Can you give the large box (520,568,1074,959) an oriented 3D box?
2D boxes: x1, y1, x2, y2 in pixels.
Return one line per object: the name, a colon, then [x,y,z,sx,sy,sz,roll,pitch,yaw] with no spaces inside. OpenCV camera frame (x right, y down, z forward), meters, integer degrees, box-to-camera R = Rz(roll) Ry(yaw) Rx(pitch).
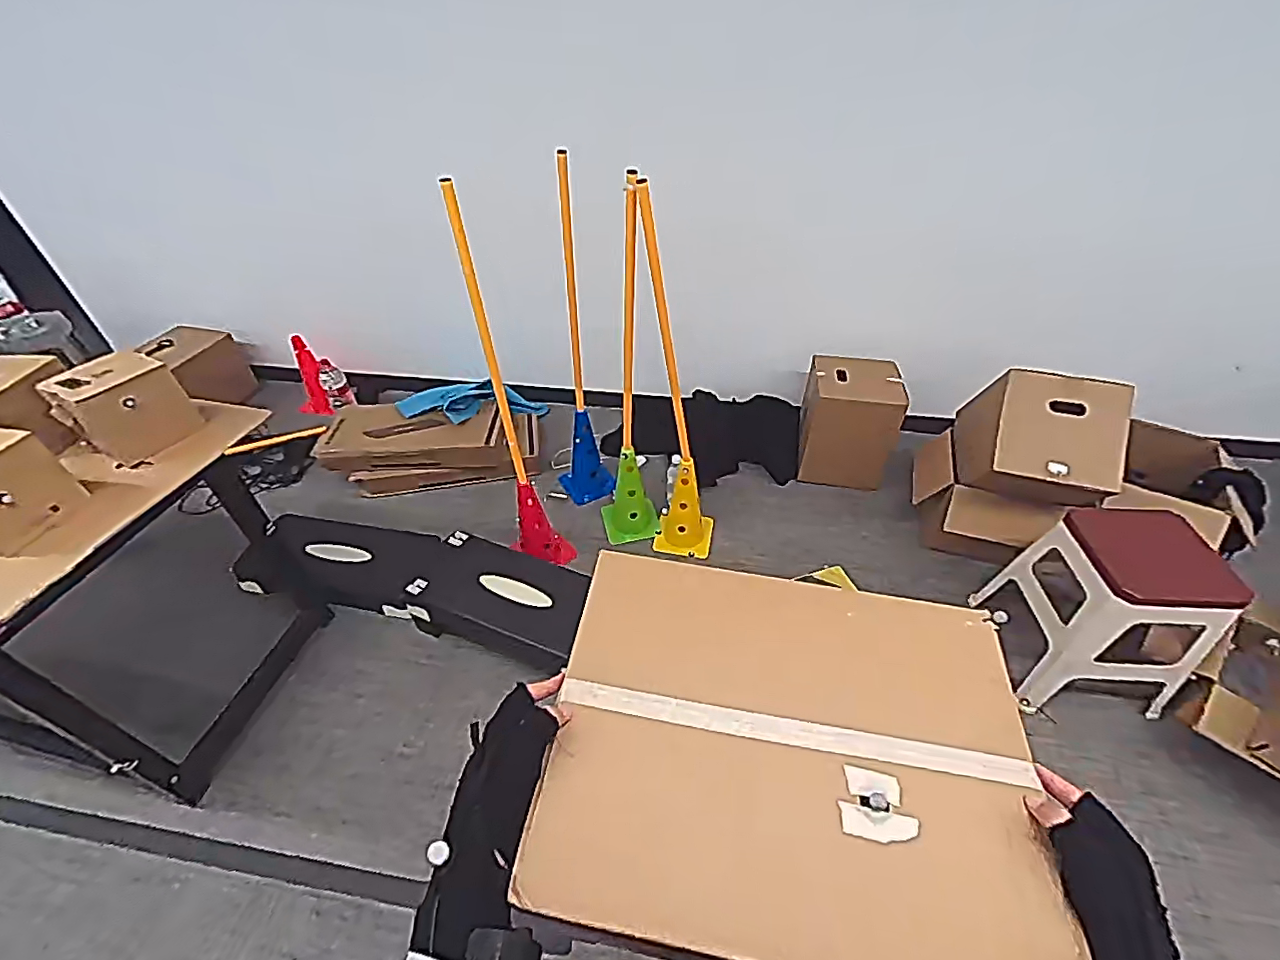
large box: [0.125,0.332,0.582,0.408,0.320,0.320,9,49,6]
